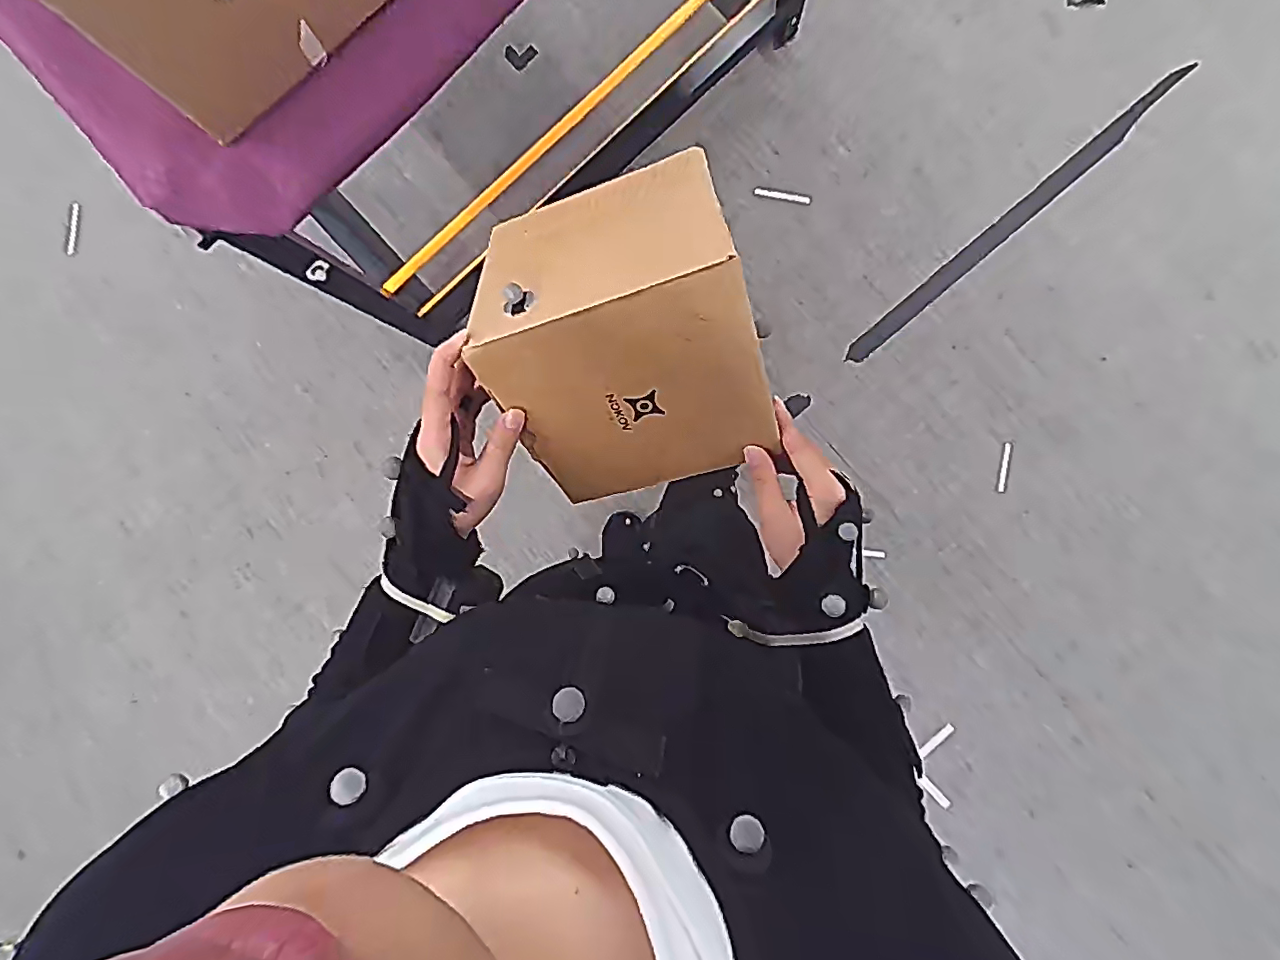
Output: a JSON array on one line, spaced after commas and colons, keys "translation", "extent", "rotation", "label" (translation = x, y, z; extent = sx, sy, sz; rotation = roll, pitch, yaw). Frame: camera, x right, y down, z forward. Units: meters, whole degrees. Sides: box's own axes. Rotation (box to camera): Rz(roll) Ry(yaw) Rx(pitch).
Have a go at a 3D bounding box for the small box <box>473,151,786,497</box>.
[{"translation": [0.000, -0.116, 0.417], "extent": [0.179, 0.168, 0.176], "rotation": [-14, 49, 14], "label": "small box"}]
